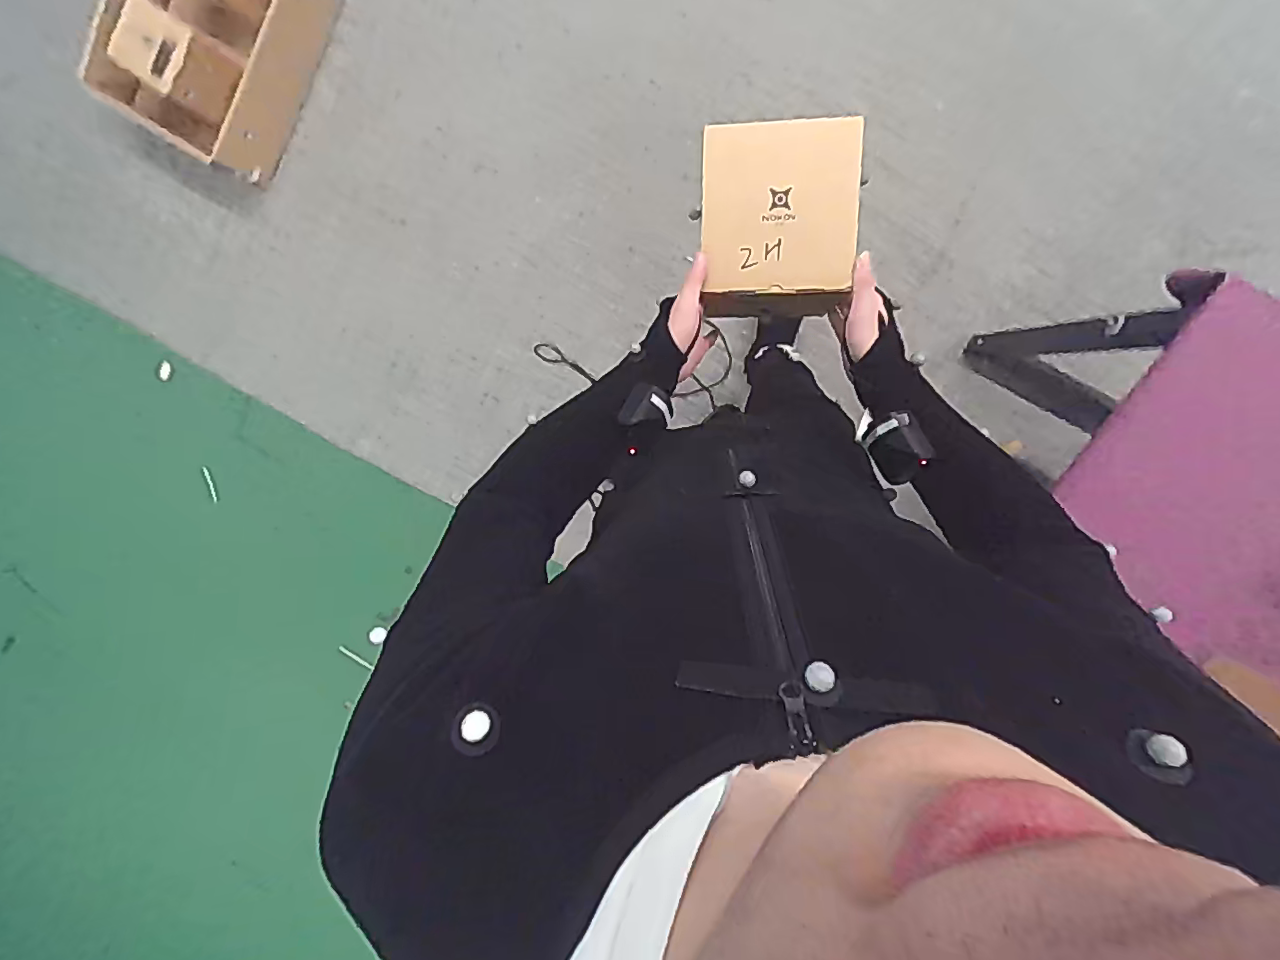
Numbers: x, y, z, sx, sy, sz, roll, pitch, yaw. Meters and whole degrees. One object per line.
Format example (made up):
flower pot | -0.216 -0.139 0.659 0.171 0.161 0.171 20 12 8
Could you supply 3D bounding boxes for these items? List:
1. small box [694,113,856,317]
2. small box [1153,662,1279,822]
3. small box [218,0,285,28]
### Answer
small box | 0.151 -0.303 0.654 0.168 0.176 0.179 1 97 8
small box | 0.971 0.413 0.826 0.179 0.176 0.168 30 101 -1
small box | -1.018 -1.287 1.342 0.179 0.176 0.168 28 102 -3
